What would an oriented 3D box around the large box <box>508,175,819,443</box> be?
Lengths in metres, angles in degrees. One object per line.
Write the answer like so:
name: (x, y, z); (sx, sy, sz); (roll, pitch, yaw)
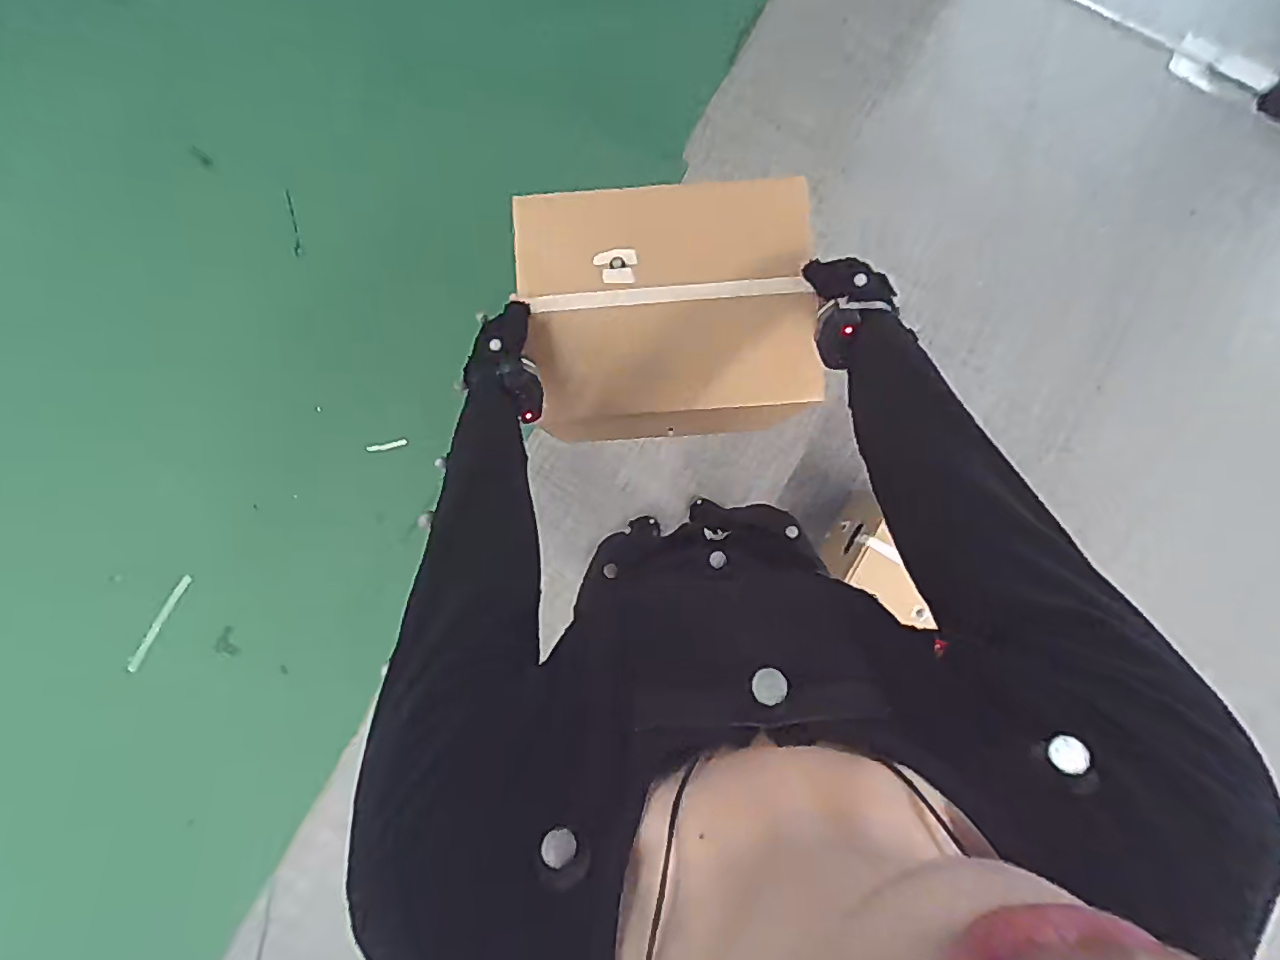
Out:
large box: (0.034, -0.241, 0.881); (0.408, 0.320, 0.320); (-5, 88, 0)
